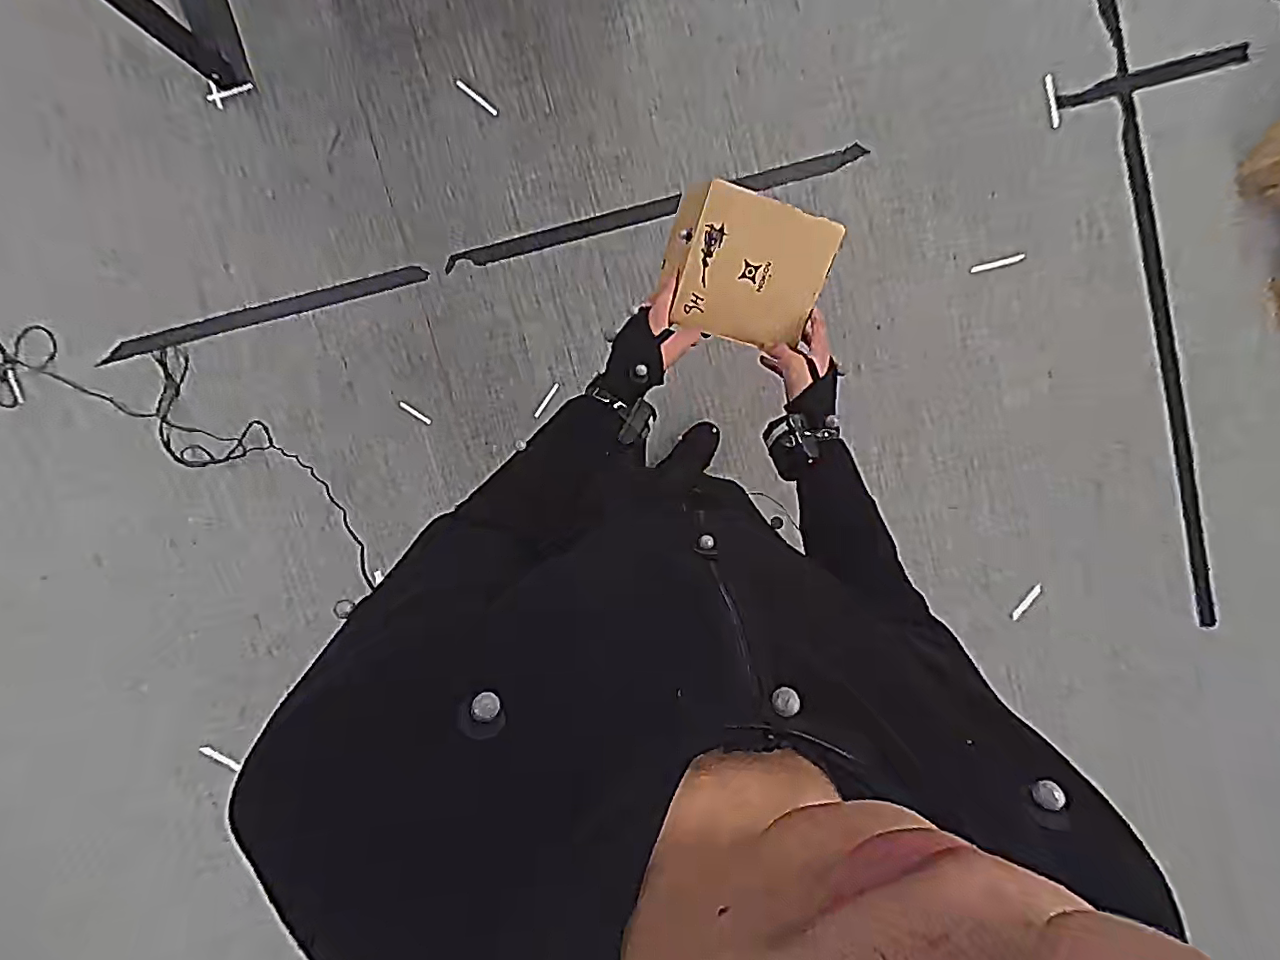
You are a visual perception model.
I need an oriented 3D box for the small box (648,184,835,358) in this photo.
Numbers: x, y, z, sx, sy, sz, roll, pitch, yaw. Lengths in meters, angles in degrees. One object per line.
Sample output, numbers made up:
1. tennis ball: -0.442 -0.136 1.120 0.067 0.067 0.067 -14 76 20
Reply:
1. small box: 0.124 -0.286 0.739 0.179 0.176 0.168 13 113 -14
